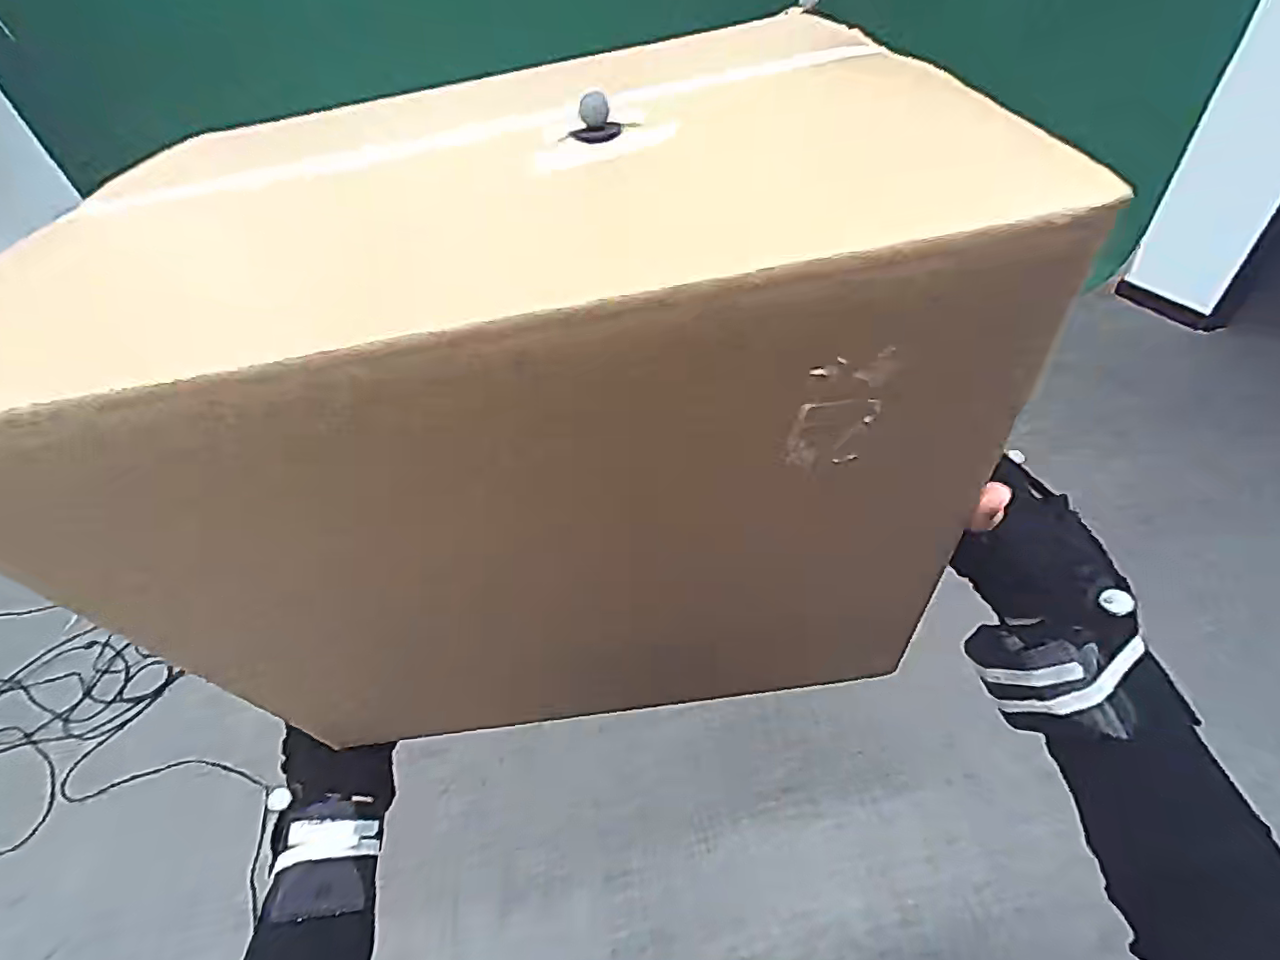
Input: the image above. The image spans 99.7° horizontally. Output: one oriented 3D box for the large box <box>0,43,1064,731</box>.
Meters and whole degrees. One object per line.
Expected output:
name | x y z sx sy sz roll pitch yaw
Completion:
large box | -0.056 -0.054 0.381 0.408 0.320 0.320 -9 48 3
